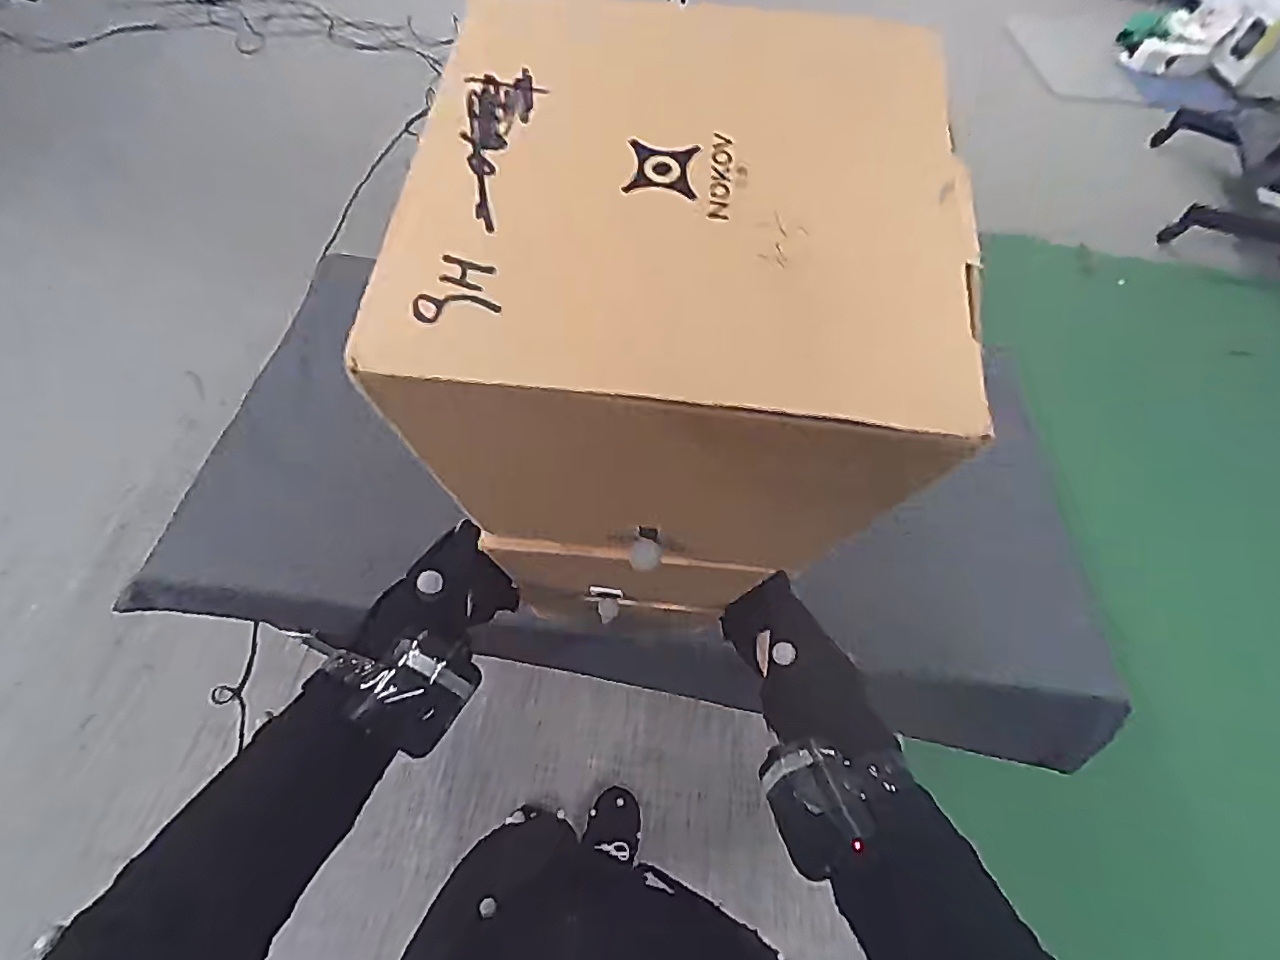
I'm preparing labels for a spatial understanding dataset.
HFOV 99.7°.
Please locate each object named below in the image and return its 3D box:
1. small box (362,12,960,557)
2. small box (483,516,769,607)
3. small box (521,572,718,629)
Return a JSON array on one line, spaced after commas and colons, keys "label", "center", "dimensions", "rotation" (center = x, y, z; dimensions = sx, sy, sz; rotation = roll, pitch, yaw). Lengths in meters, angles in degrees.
[{"label": "small box", "center": [0.011, -0.066, 0.257], "dimensions": [0.179, 0.176, 0.168], "rotation": [6, 68, 0]}, {"label": "small box", "center": [-0.005, -0.010, 0.409], "dimensions": [0.168, 0.176, 0.179], "rotation": [5, 69, -1]}, {"label": "small box", "center": [-0.014, 0.061, 0.572], "dimensions": [0.179, 0.176, 0.168], "rotation": [6, 69, -1]}]
